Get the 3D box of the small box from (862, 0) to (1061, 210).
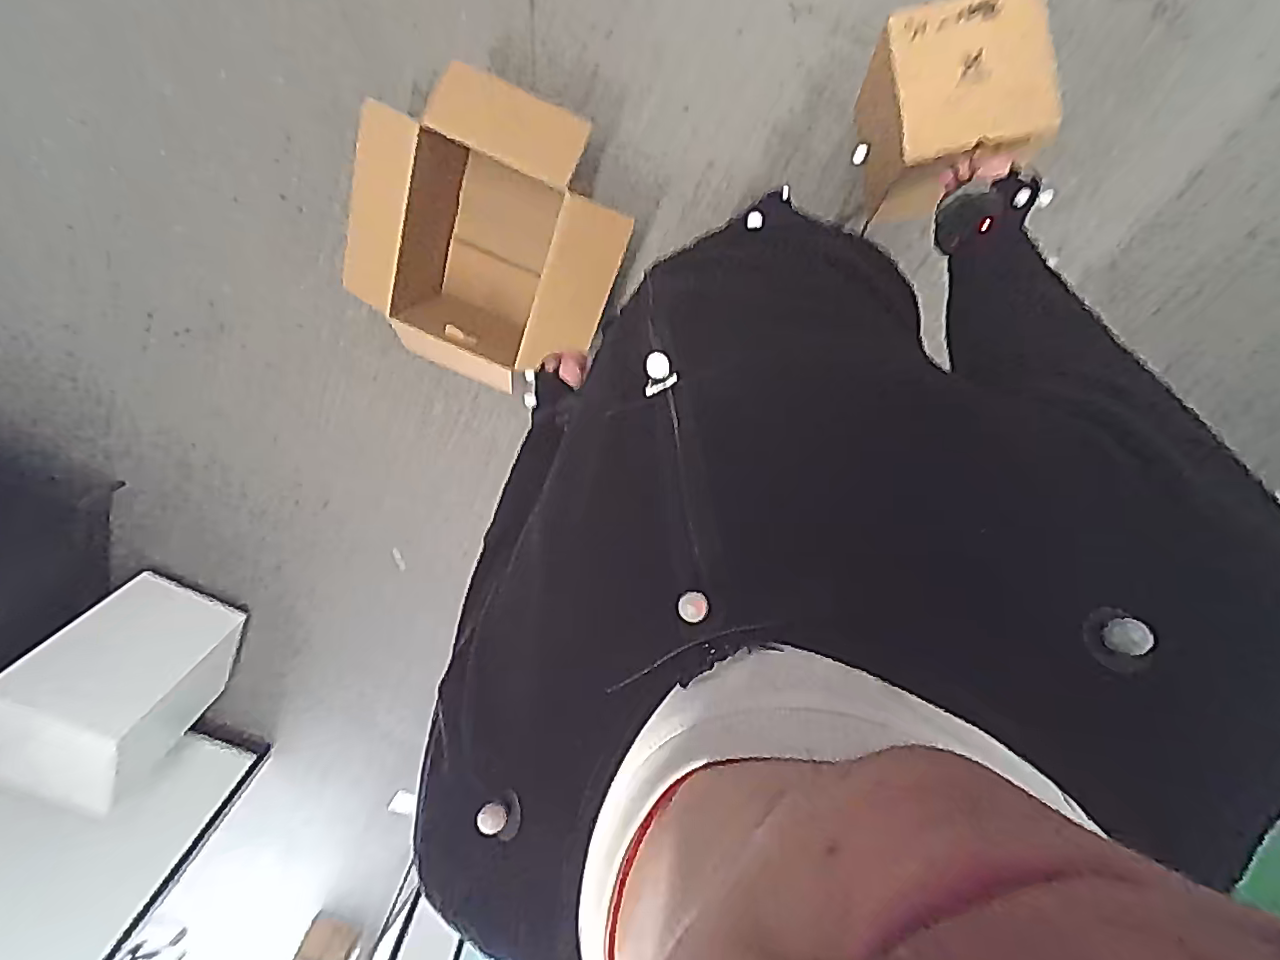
[{"bbox_3d":[0.394,-0.469,0.690,0.168,0.176,0.179,-5,90,8],"label":"small box"}]
